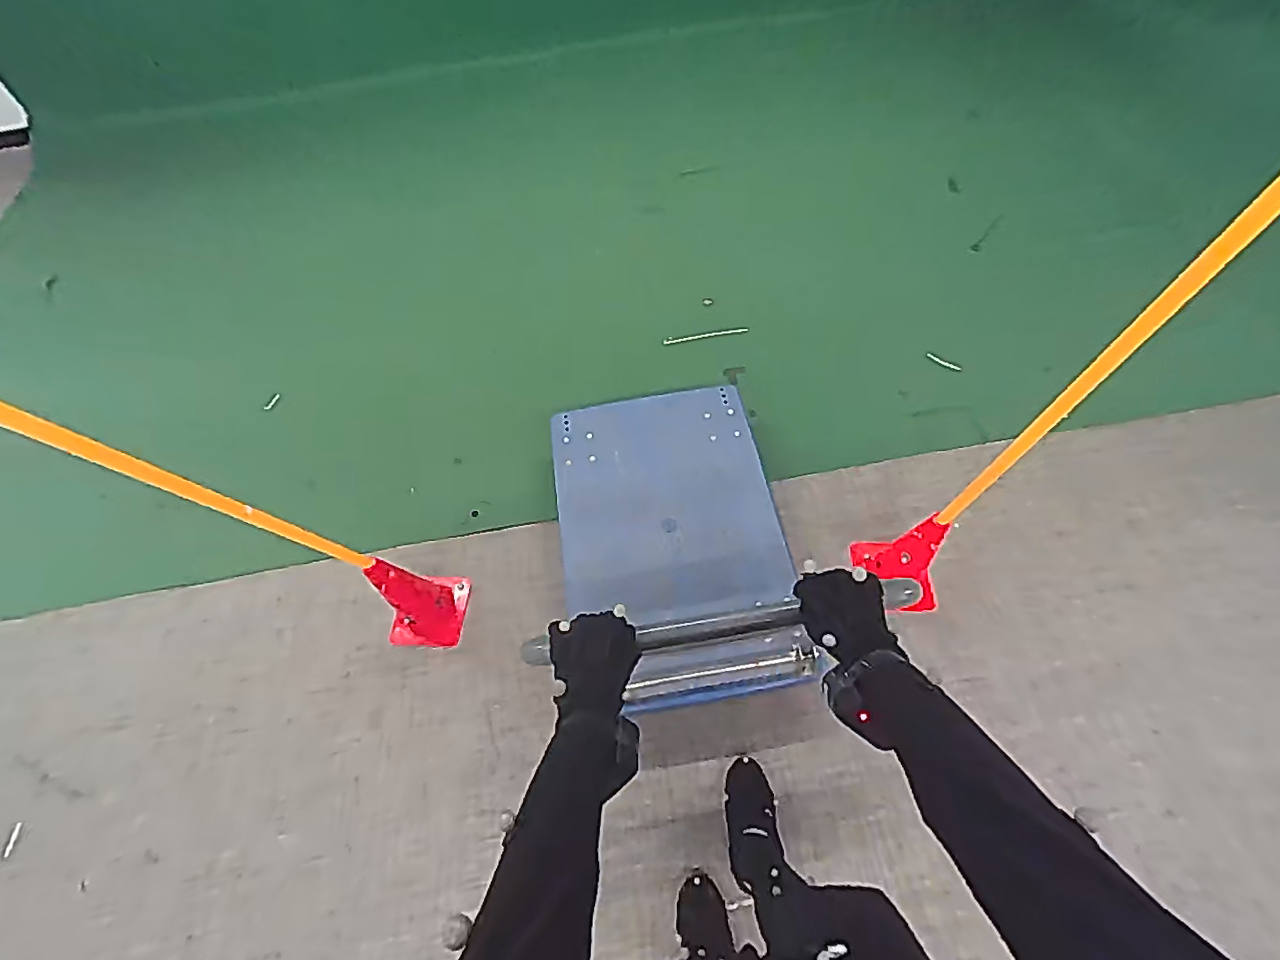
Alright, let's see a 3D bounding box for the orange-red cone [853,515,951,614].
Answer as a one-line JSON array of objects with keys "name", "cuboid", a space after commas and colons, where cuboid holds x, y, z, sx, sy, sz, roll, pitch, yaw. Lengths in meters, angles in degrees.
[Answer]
[{"name": "orange-red cone", "cuboid": [0.681, 0.184, 1.337, 0.198, 0.360, 0.199, -1, 59, 5]}]
